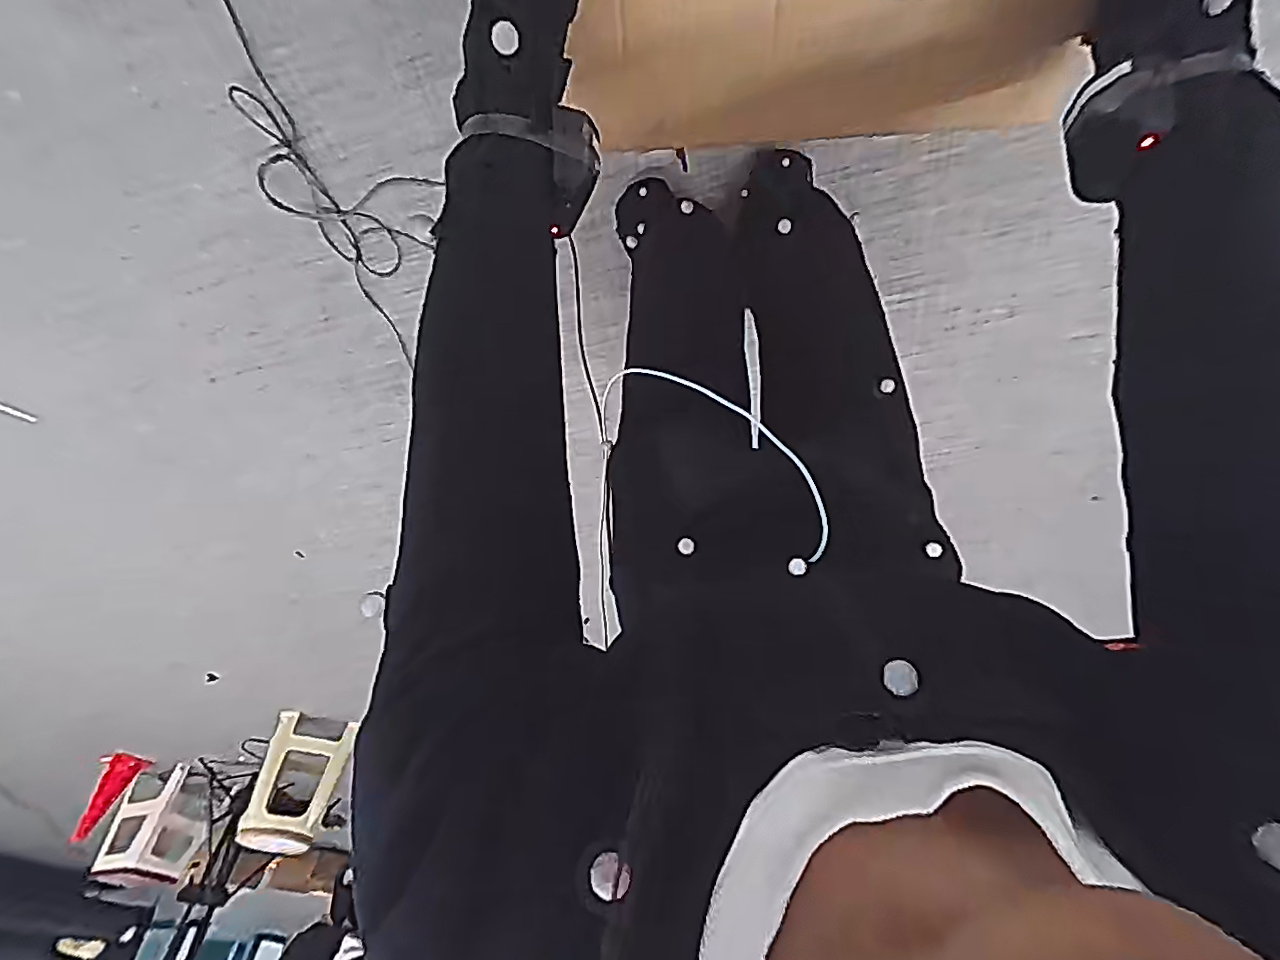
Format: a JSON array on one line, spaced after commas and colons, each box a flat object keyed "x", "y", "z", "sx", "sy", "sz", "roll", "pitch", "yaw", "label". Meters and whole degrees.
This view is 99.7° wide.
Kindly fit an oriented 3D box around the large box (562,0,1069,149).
[{"x": 0.132, "y": -0.523, "z": 0.497, "sx": 0.408, "sy": 0.320, "sz": 0.320, "roll": -3, "pitch": 130, "yaw": 3, "label": "large box"}]
